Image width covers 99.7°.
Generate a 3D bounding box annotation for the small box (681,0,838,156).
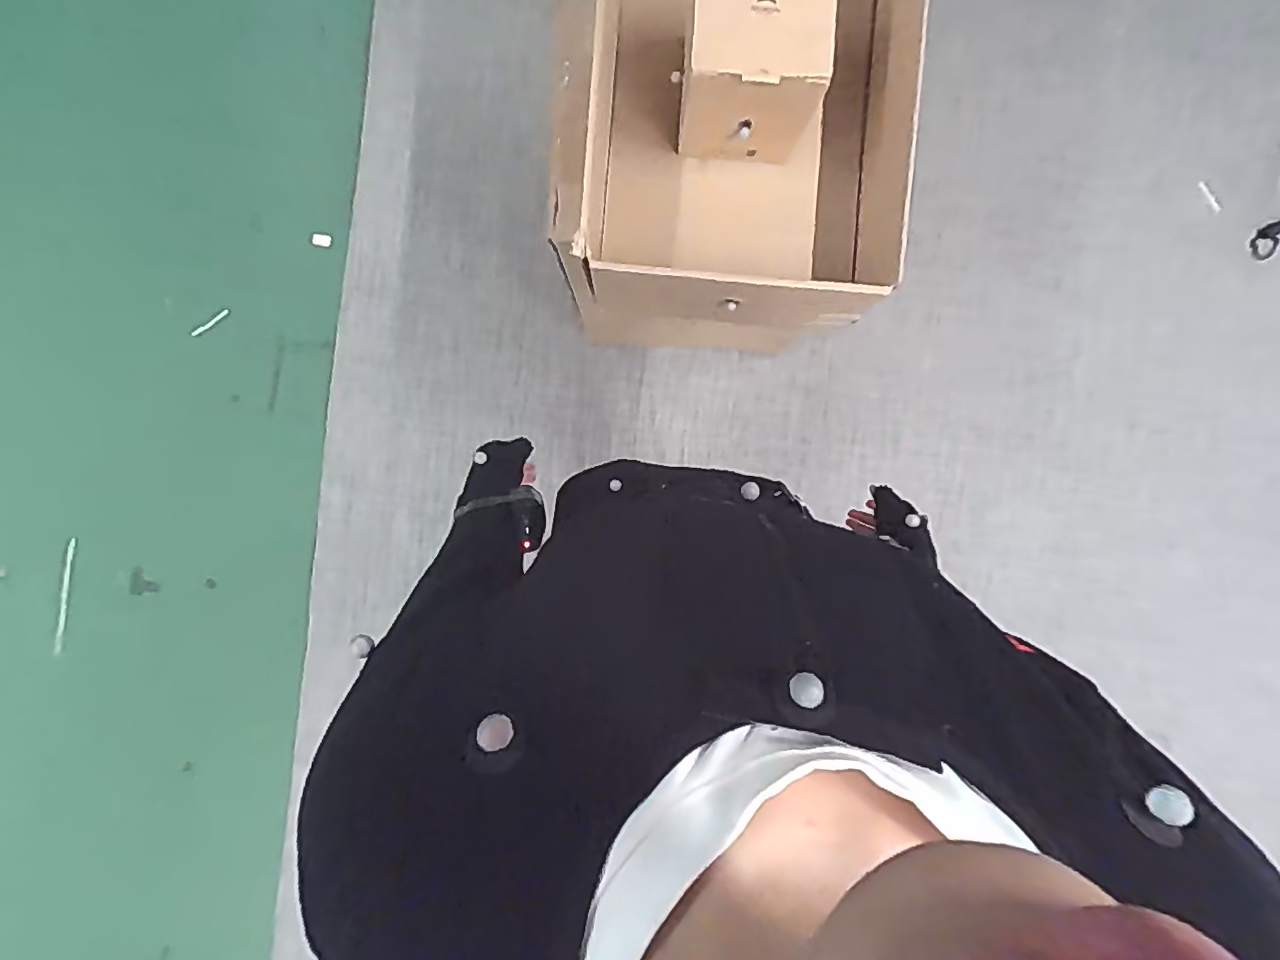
[{"bbox_3d":[0.145,-0.552,0.698,0.168,0.176,0.179,4,91,-1],"label":"small box"}]
